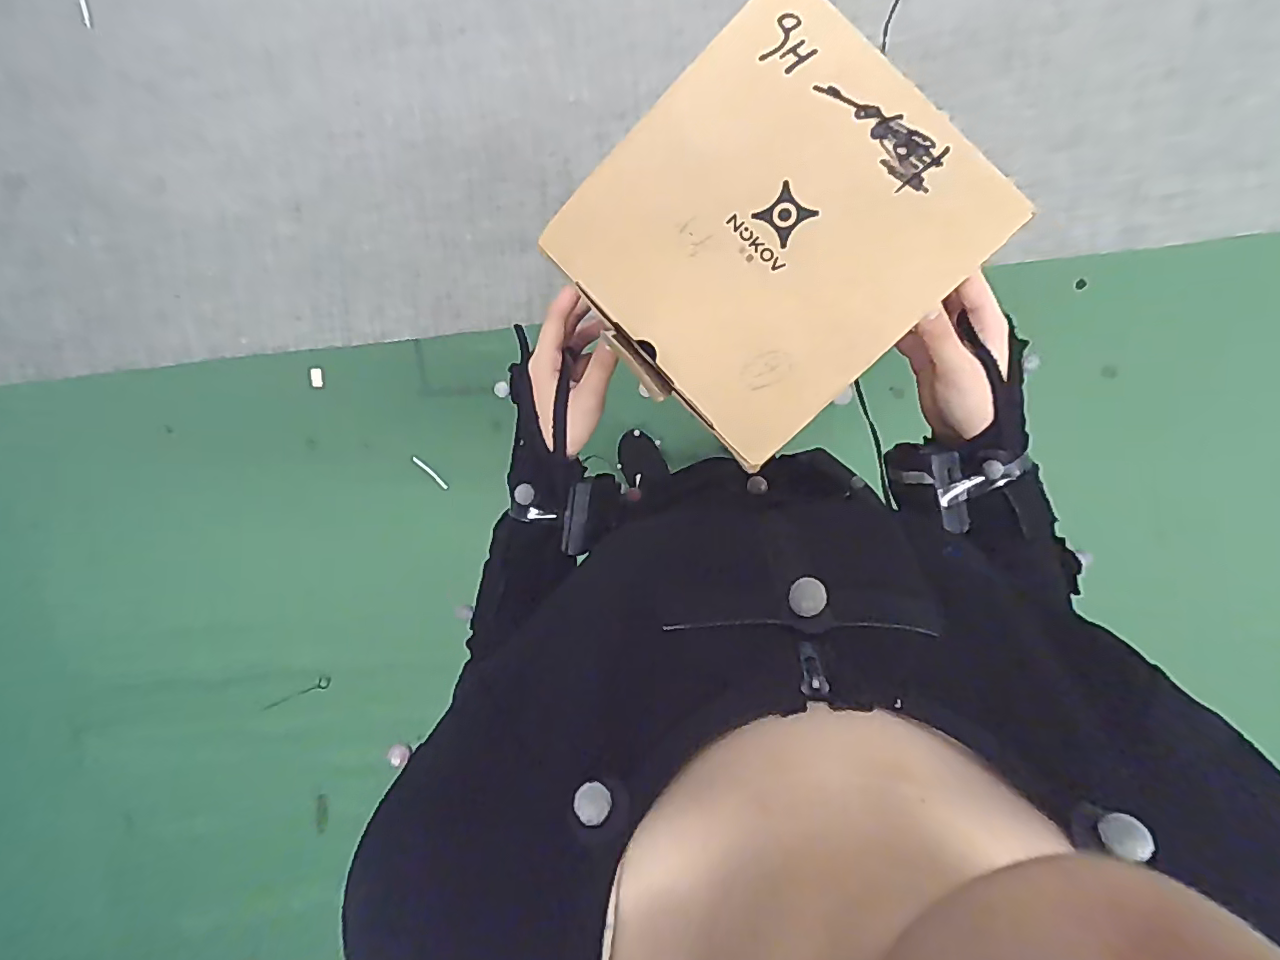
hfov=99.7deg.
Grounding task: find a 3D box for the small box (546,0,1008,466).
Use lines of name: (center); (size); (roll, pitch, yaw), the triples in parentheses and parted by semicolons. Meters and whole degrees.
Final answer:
small box: (0.075, -0.128, 0.354); (0.179, 0.176, 0.168); (-44, 88, 9)
